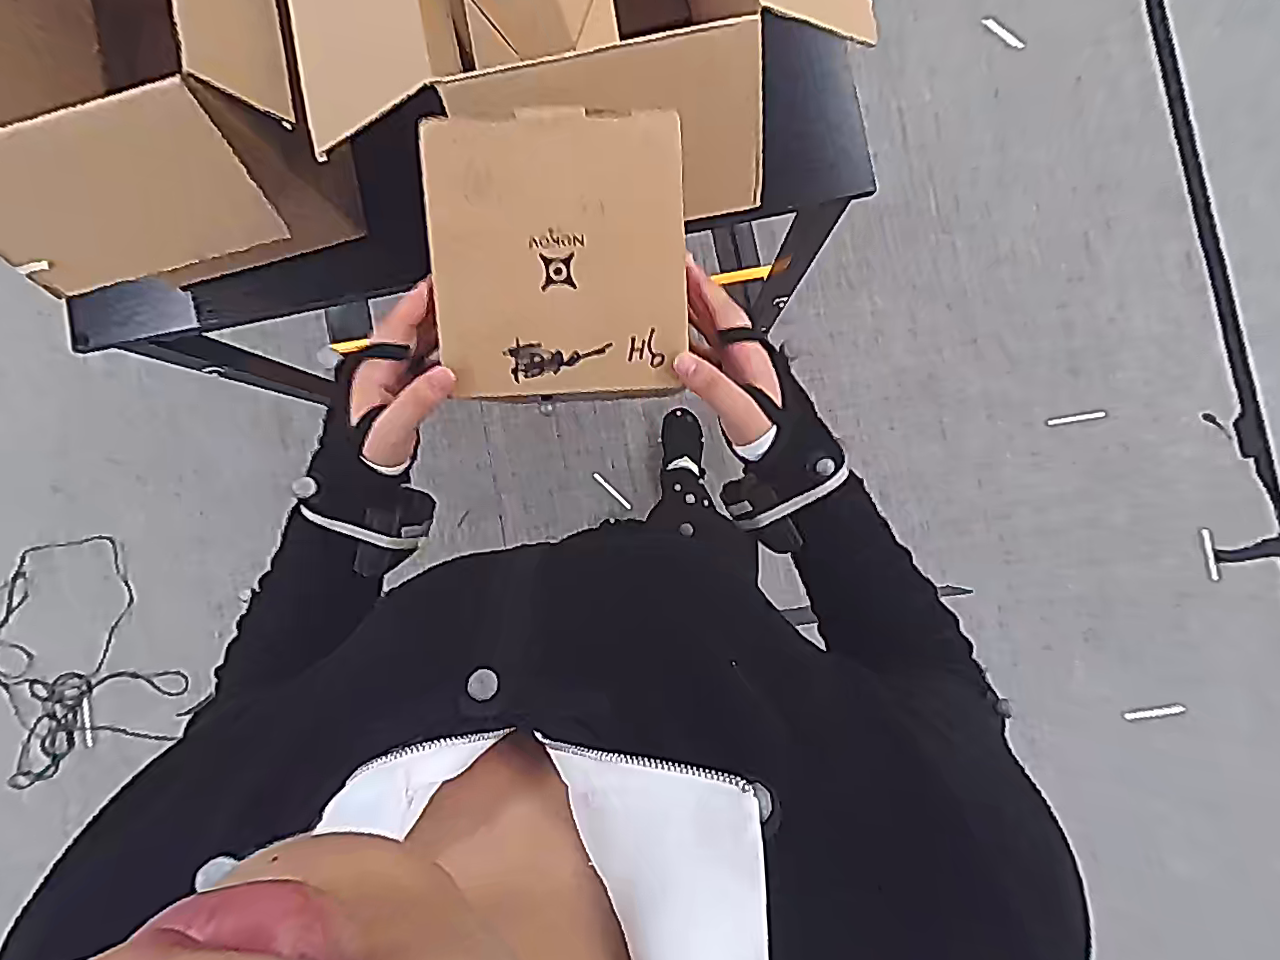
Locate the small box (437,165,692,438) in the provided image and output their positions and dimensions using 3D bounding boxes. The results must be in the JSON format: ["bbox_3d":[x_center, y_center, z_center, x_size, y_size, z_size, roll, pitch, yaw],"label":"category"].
[{"bbox_3d":[-0.050,-0.125,0.438,0.168,0.176,0.179,-2,97,-1],"label":"small box"}]
